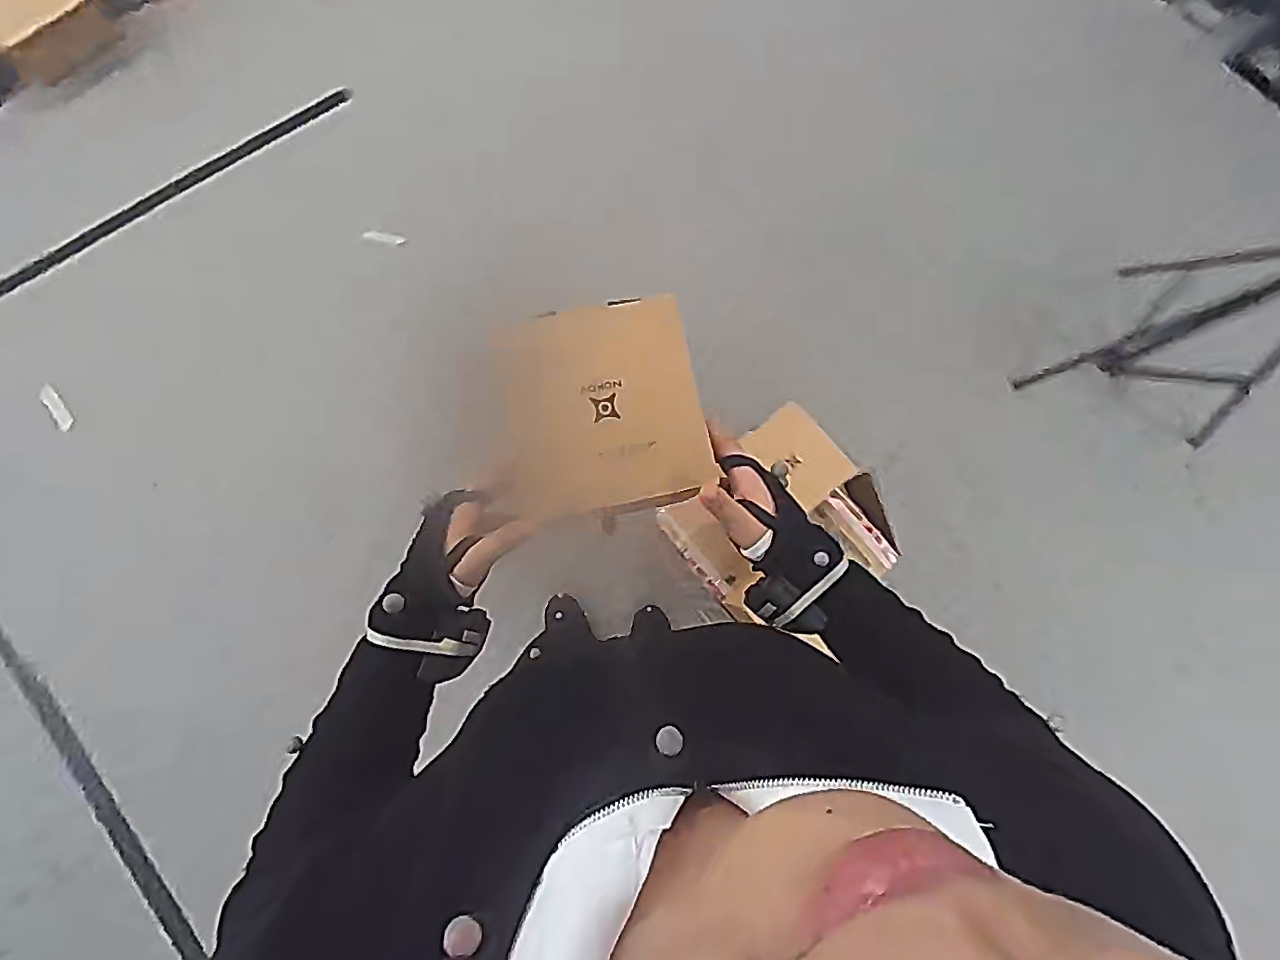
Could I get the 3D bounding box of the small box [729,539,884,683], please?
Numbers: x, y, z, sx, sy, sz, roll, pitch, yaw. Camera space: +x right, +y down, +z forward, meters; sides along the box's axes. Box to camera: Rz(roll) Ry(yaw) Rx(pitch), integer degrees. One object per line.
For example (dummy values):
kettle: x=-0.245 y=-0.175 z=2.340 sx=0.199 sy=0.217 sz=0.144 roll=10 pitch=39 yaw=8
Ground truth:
small box: x=0.281 y=0.222 z=0.956 sx=0.179 sy=0.176 sz=0.168 roll=-39 pitch=83 yaw=-8

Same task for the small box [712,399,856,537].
small box: x=0.254 y=-0.015 z=1.003 sx=0.179 sy=0.176 sz=0.168 roll=-38 pitch=81 yaw=-8

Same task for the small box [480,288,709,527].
small box: x=-0.047 y=-0.058 z=0.533 sx=0.168 sy=0.176 sz=0.179 roll=-13 pitch=84 yaw=-7
